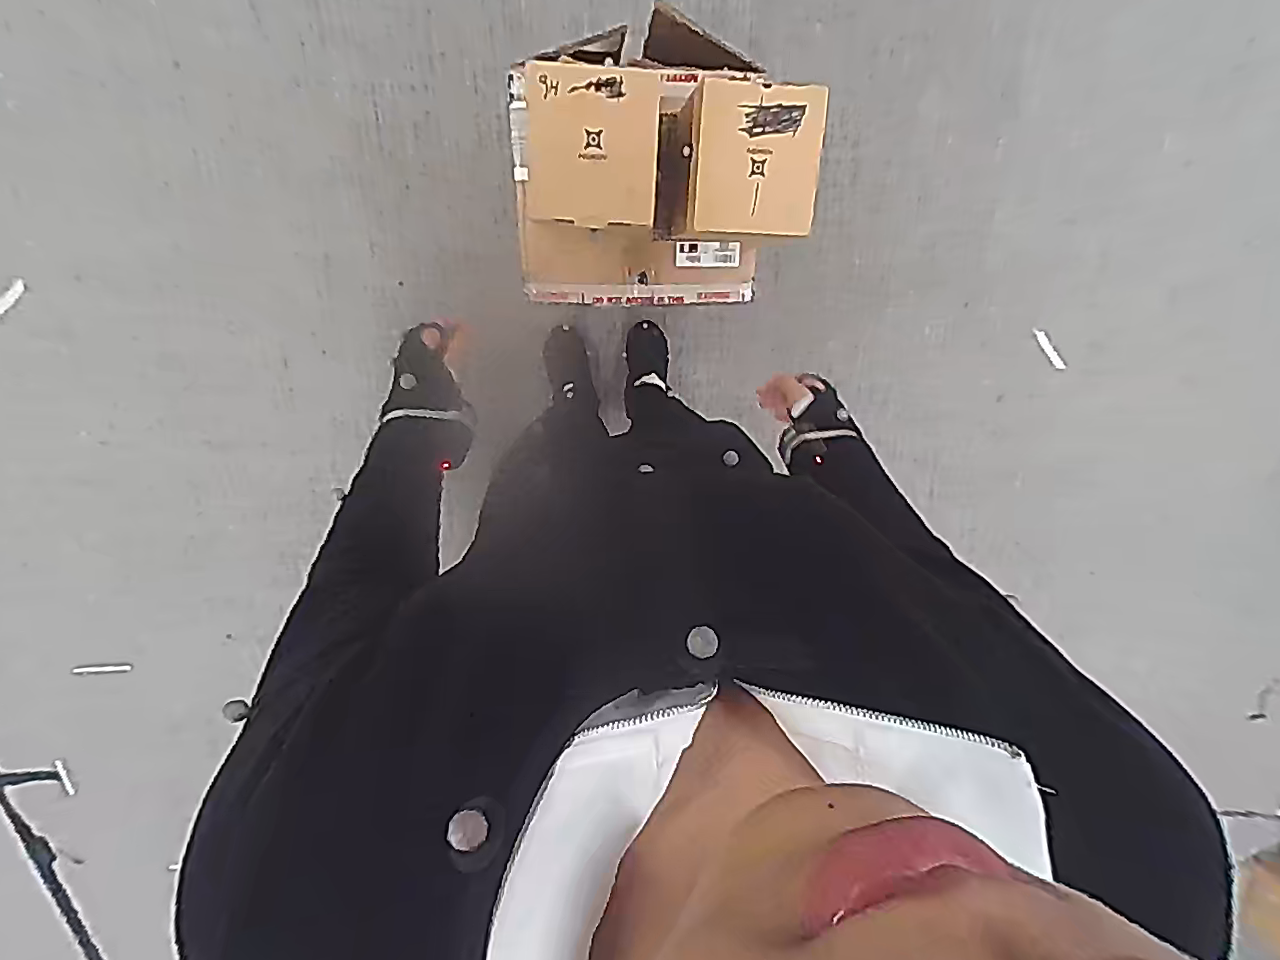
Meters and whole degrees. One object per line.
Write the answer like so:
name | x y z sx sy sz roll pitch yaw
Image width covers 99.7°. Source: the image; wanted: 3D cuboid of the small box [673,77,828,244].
small box | 0.144 -0.442 0.776 0.168 0.176 0.179 0 112 -7

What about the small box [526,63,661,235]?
small box | -0.064 -0.443 0.753 0.168 0.176 0.179 2 111 -4
